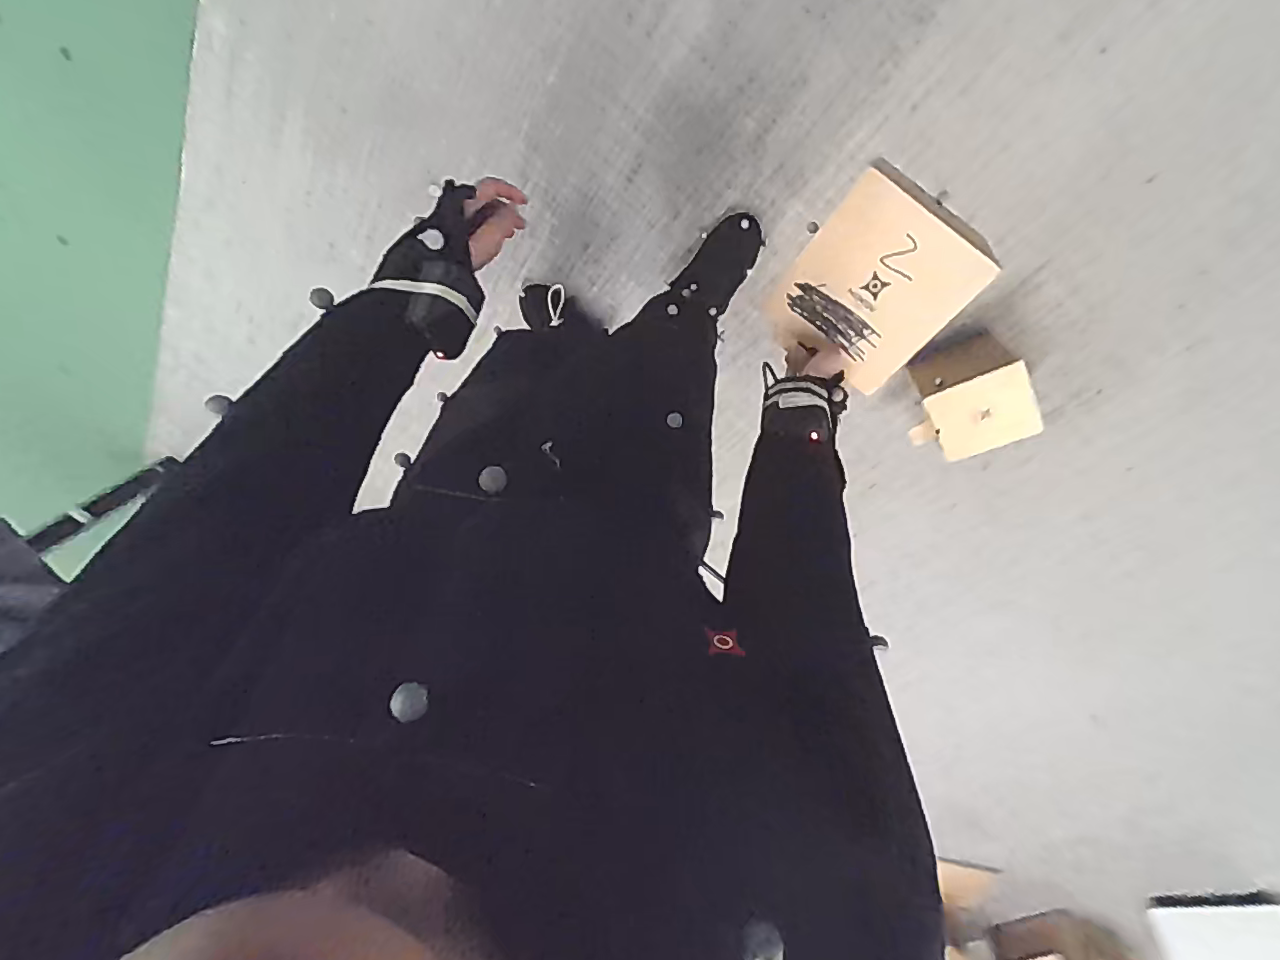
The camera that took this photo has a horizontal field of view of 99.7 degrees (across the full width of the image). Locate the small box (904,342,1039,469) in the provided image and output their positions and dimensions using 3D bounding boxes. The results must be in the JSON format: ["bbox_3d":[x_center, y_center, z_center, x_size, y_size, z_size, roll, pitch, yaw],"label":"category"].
[{"bbox_3d":[0.670,-0.157,1.108,0.179,0.176,0.168,-23,116,27],"label":"small box"}]
